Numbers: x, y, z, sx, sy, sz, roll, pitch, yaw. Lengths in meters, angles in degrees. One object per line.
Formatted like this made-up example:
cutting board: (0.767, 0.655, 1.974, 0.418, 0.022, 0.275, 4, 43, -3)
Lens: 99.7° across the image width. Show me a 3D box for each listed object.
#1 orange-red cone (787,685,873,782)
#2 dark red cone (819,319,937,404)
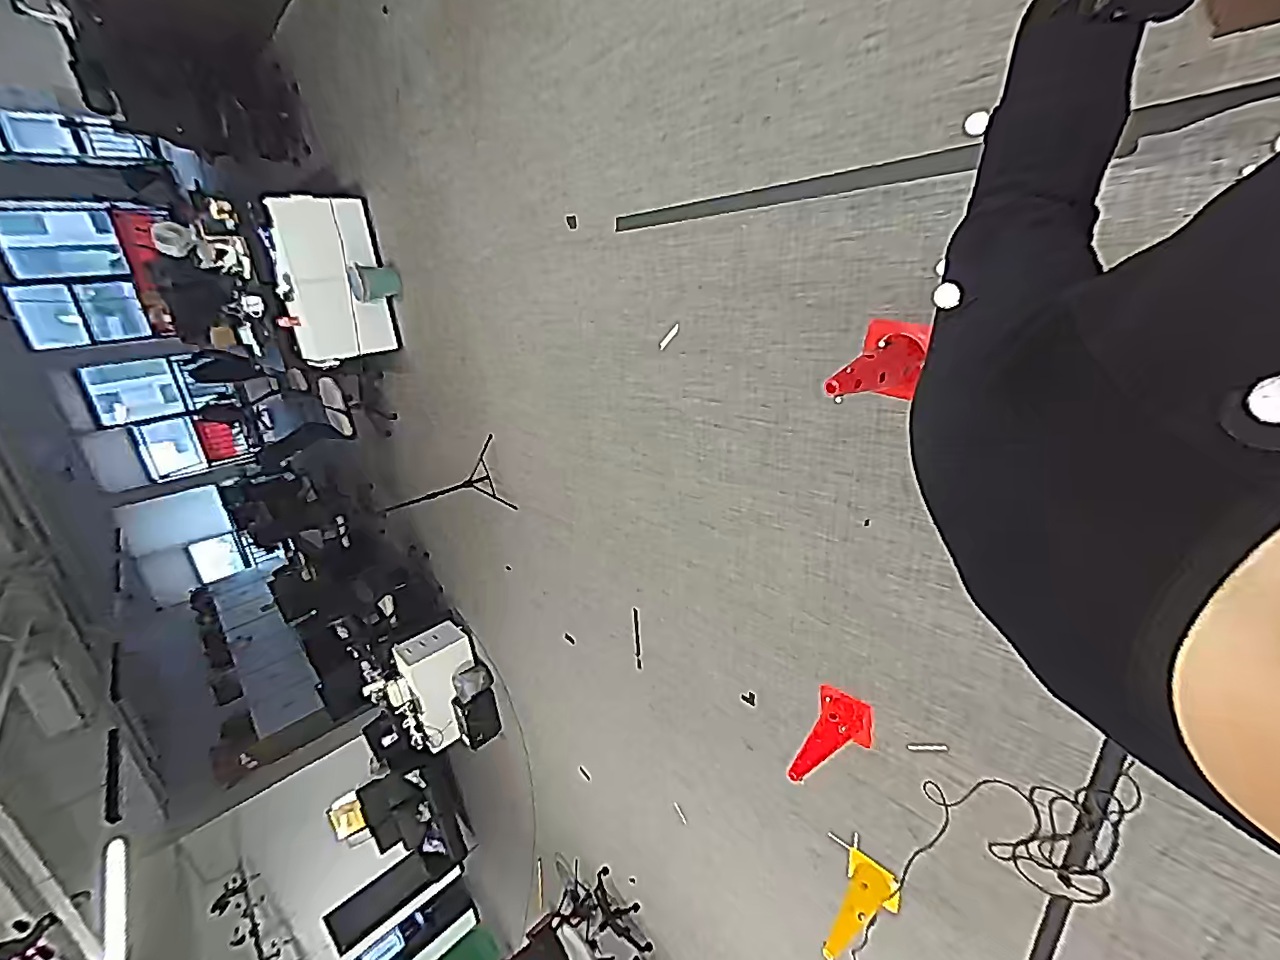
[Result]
orange-red cone: (0.627, 0.916, 1.868, 0.198, 0.360, 0.199, 15, 121, 46)
dark red cone: (0.552, -0.264, 1.327, 0.201, 0.394, 0.202, 23, 125, 40)
